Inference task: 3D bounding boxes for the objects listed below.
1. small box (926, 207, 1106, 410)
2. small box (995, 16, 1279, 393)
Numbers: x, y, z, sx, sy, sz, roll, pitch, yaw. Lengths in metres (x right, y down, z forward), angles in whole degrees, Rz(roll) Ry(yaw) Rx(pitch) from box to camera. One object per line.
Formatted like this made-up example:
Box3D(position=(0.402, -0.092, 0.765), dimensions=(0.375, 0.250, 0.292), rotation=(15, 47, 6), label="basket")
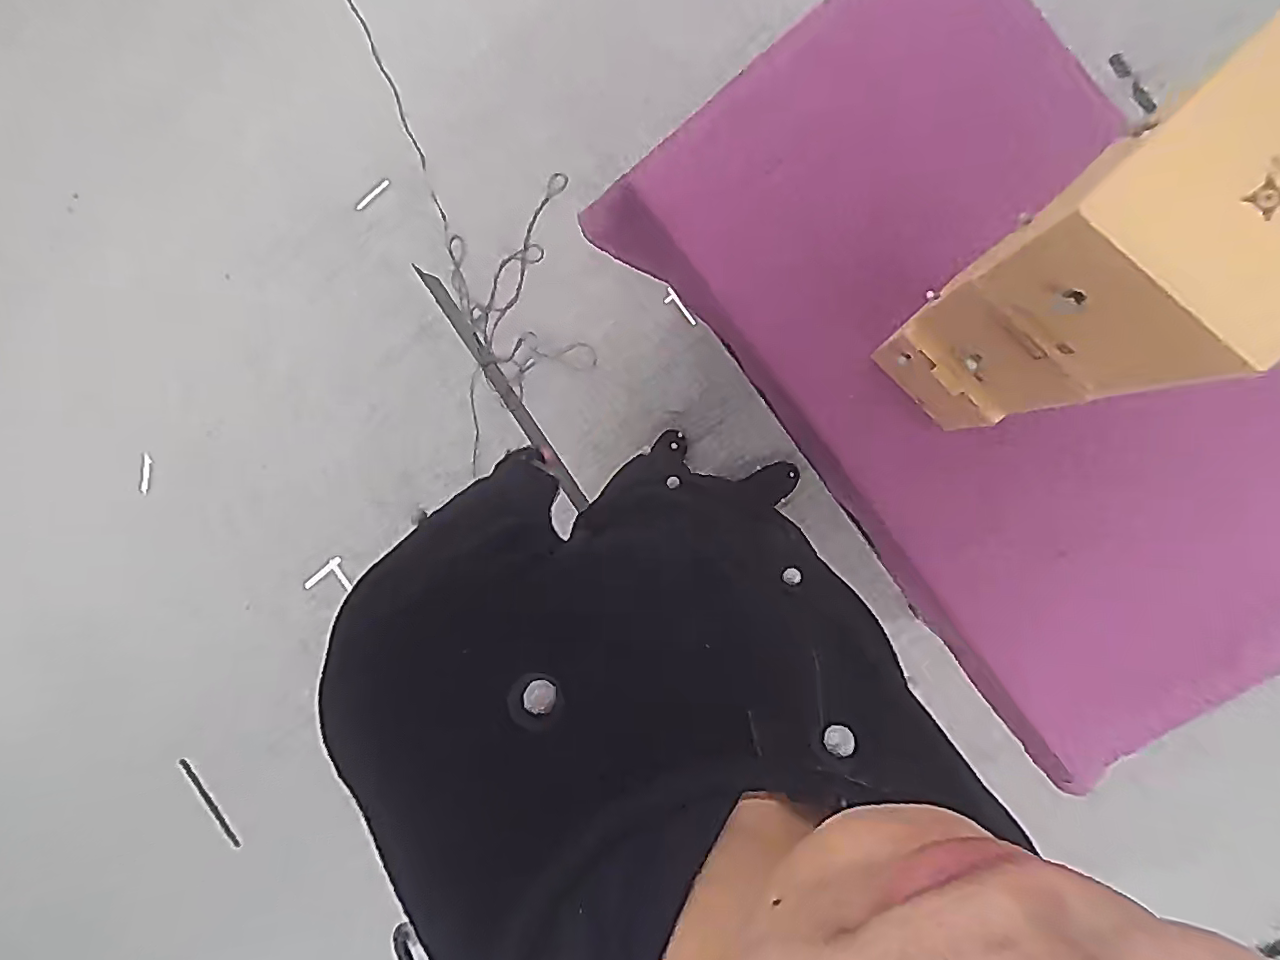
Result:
Box3D(position=(0.458, -0.196, 0.590), dimensions=(0.179, 0.176, 0.168), rotation=(-42, 85, 9), label="small box")
Box3D(position=(0.428, -0.190, 0.430), dimensions=(0.179, 0.176, 0.168), rotation=(-45, 85, 7), label="small box")
